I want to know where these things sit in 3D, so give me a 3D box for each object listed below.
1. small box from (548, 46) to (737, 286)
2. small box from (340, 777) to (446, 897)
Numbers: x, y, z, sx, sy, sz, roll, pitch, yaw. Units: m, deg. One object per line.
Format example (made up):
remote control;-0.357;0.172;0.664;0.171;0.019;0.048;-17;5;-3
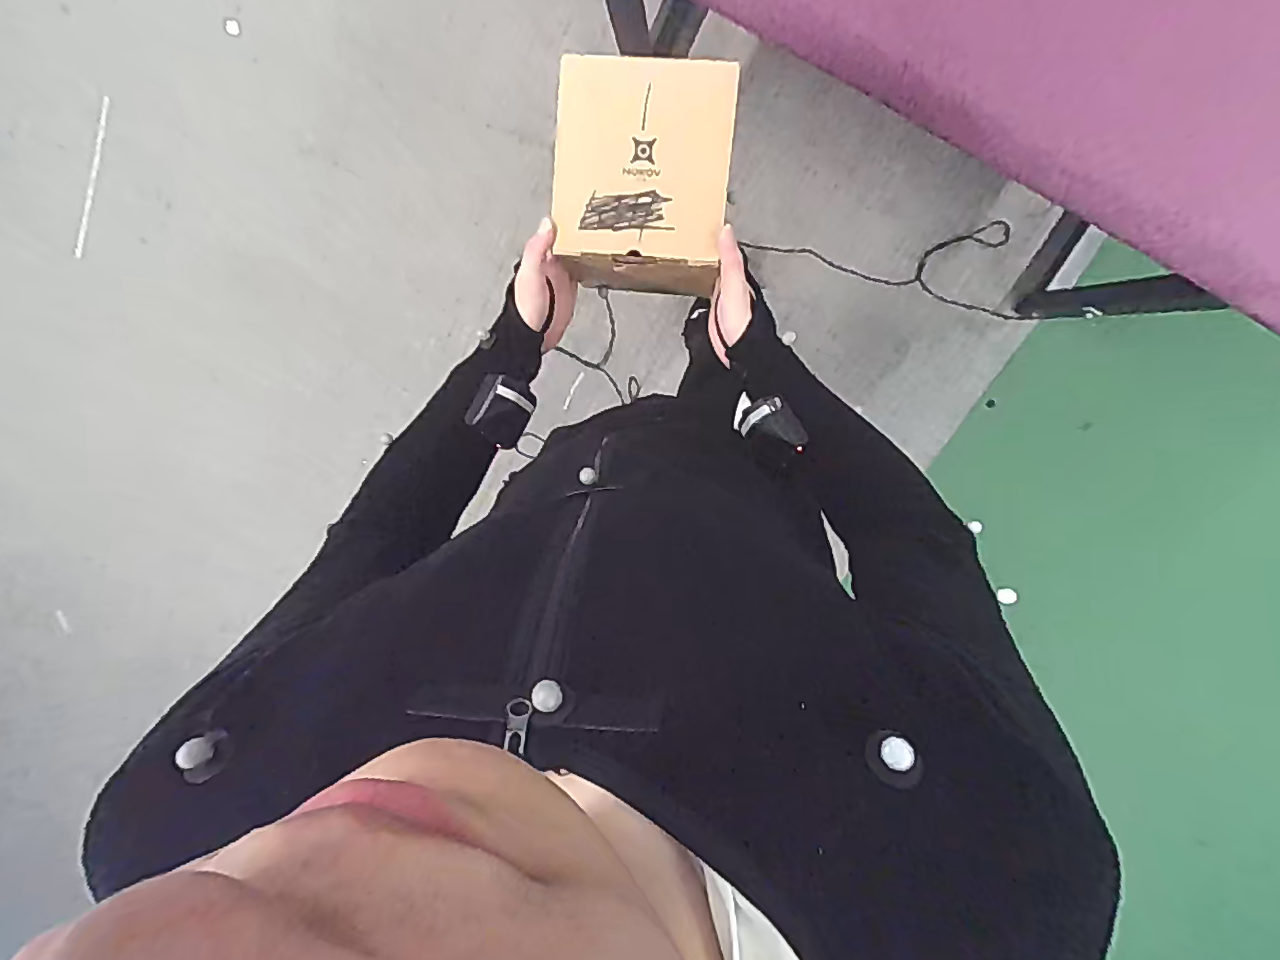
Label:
small box;0.007;-0.314;0.576;0.168;0.176;0.179;5;99;4
small box;-0.649;0.944;1.441;0.168;0.176;0.179;33;107;-3
